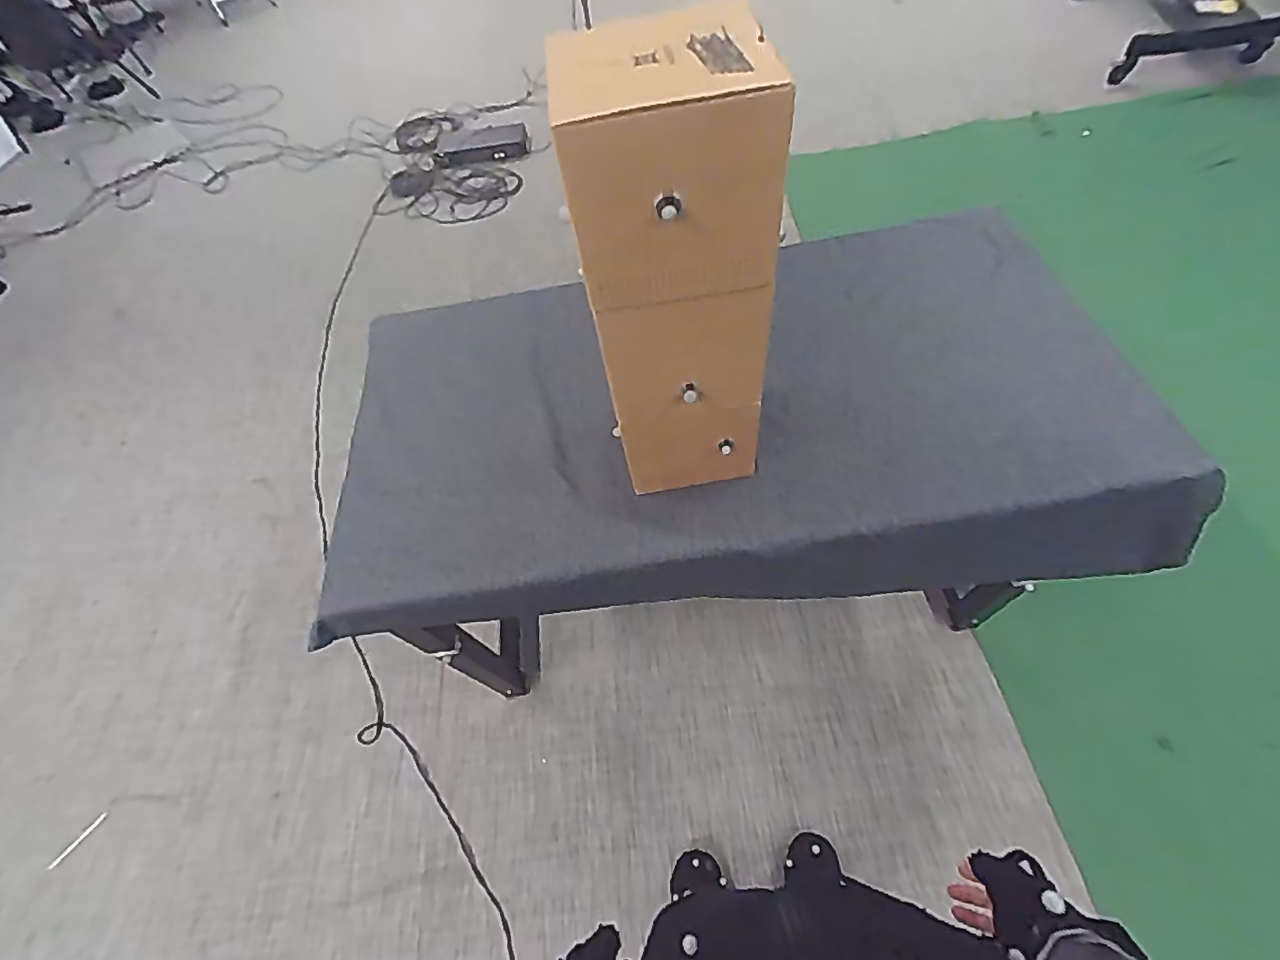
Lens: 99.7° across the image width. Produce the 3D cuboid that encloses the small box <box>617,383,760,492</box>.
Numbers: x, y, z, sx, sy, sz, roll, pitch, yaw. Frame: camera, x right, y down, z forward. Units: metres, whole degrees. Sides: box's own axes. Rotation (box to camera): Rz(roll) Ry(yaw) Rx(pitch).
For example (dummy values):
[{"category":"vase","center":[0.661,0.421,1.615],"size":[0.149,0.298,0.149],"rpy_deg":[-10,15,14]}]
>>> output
[{"category":"small box","center":[0.060,-0.103,0.762],"size":[0.179,0.176,0.168],"rpy_deg":[-11,56,3]}]

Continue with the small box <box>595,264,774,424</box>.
[{"category":"small box","center":[0.040,-0.189,0.627],"size":[0.179,0.176,0.168],"rpy_deg":[-12,58,1]}]

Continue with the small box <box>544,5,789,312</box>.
[{"category":"small box","center":[0.020,-0.279,0.487],"size":[0.179,0.176,0.168],"rpy_deg":[-9,56,3]}]
